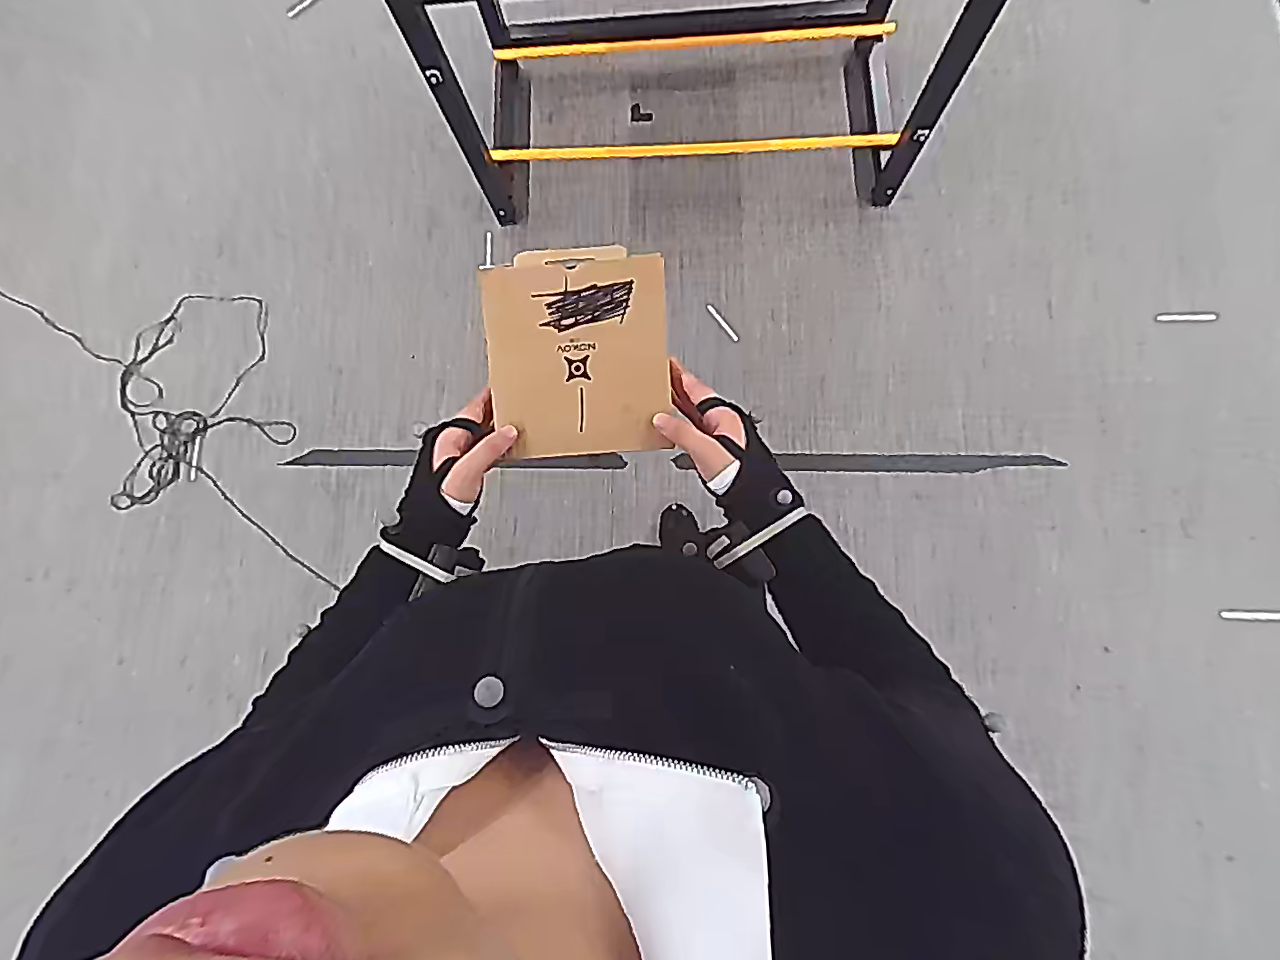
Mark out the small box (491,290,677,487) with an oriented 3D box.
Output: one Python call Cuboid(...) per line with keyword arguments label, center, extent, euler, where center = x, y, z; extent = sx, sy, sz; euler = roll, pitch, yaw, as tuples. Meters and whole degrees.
Cuboid(label="small box", center=(-0.051, -0.089, 0.581), extent=(0.168, 0.176, 0.179), euler=(-4, 95, 1))
